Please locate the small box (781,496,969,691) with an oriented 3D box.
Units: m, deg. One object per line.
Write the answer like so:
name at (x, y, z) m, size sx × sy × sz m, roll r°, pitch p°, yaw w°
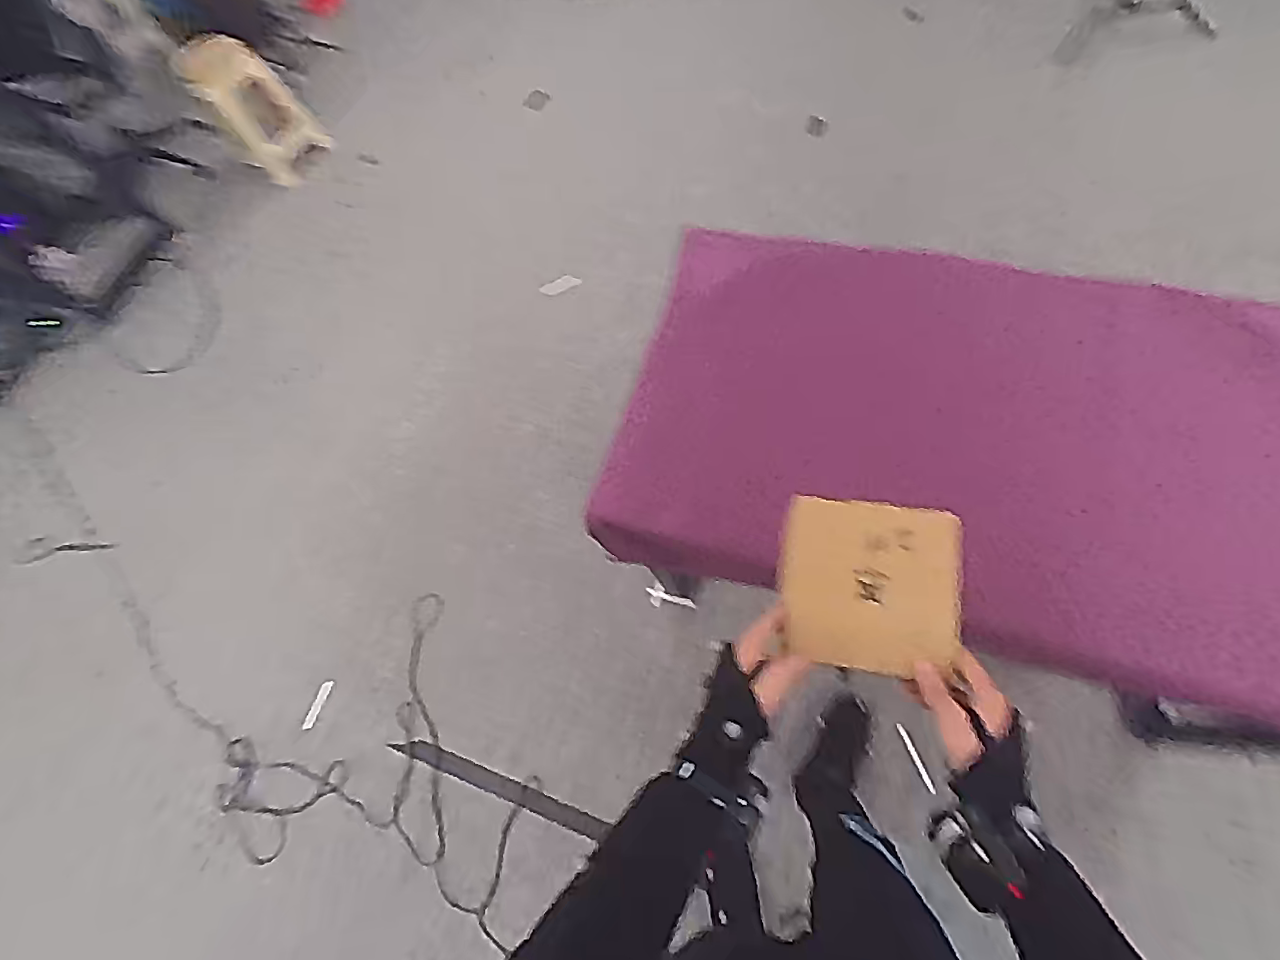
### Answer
small box at (0.259, 0.133, 0.628) m, size 0.168 × 0.176 × 0.179 m, roll 7°, pitch 73°, yaw 13°
